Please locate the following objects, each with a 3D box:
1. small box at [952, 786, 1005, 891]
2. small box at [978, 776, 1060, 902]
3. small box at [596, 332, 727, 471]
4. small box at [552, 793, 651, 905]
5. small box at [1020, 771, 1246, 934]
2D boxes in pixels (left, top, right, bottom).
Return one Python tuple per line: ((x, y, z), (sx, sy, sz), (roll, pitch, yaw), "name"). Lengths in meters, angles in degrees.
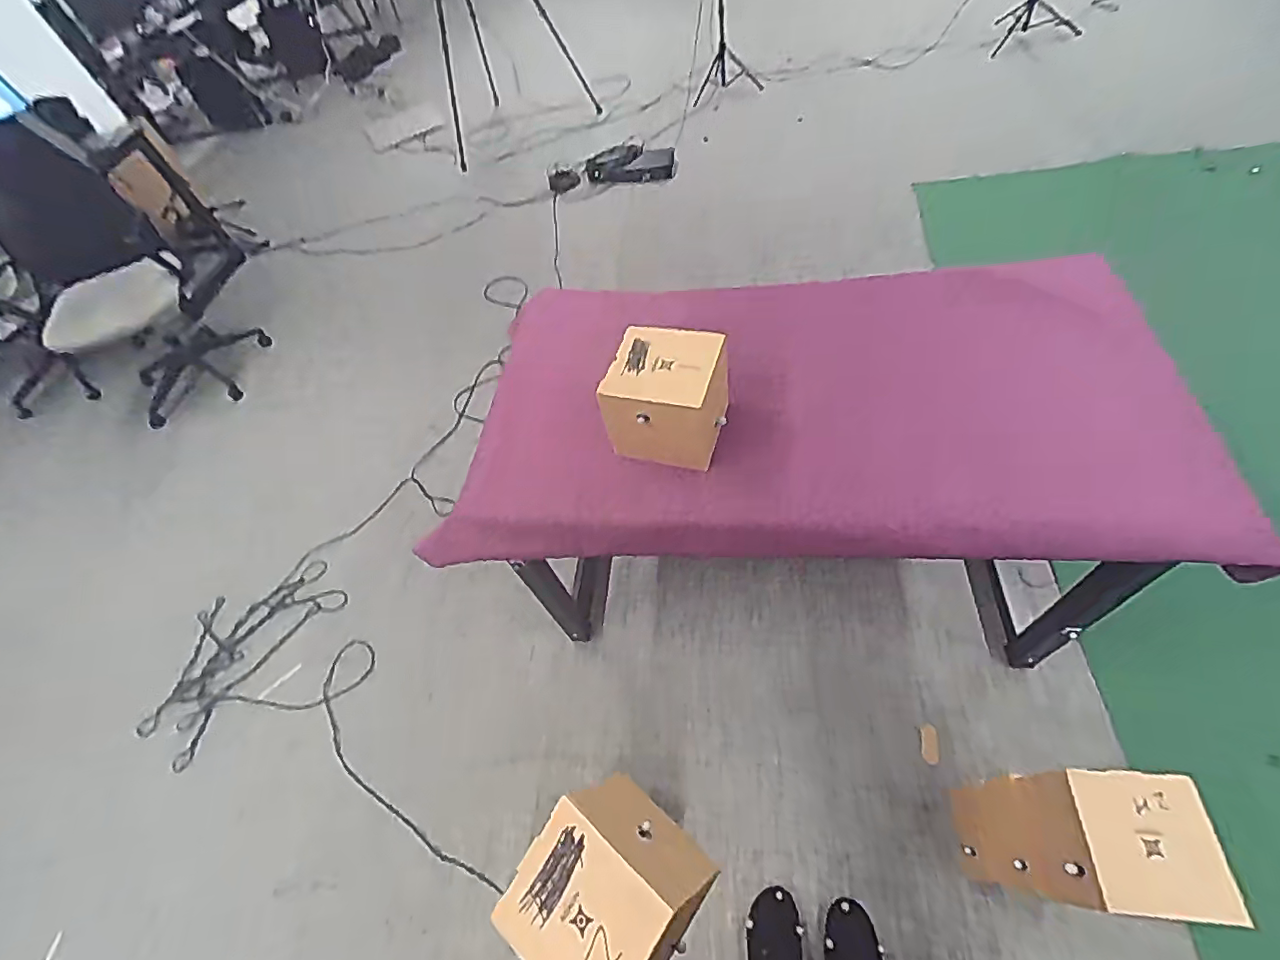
((0.751, 0.728, 1.088), (0.179, 0.176, 0.168), (0, 55, 11), "small box")
((0.730, 0.638, 0.956), (0.168, 0.176, 0.179), (-2, 56, 10), "small box")
((0.047, -0.133, 0.944), (0.179, 0.176, 0.168), (11, 58, 18), "small box")
((-0.075, 0.811, 1.197), (0.168, 0.176, 0.179), (2, 56, 13), "small box")
((0.716, 0.552, 0.815), (0.168, 0.176, 0.179), (-1, 56, 10), "small box")
